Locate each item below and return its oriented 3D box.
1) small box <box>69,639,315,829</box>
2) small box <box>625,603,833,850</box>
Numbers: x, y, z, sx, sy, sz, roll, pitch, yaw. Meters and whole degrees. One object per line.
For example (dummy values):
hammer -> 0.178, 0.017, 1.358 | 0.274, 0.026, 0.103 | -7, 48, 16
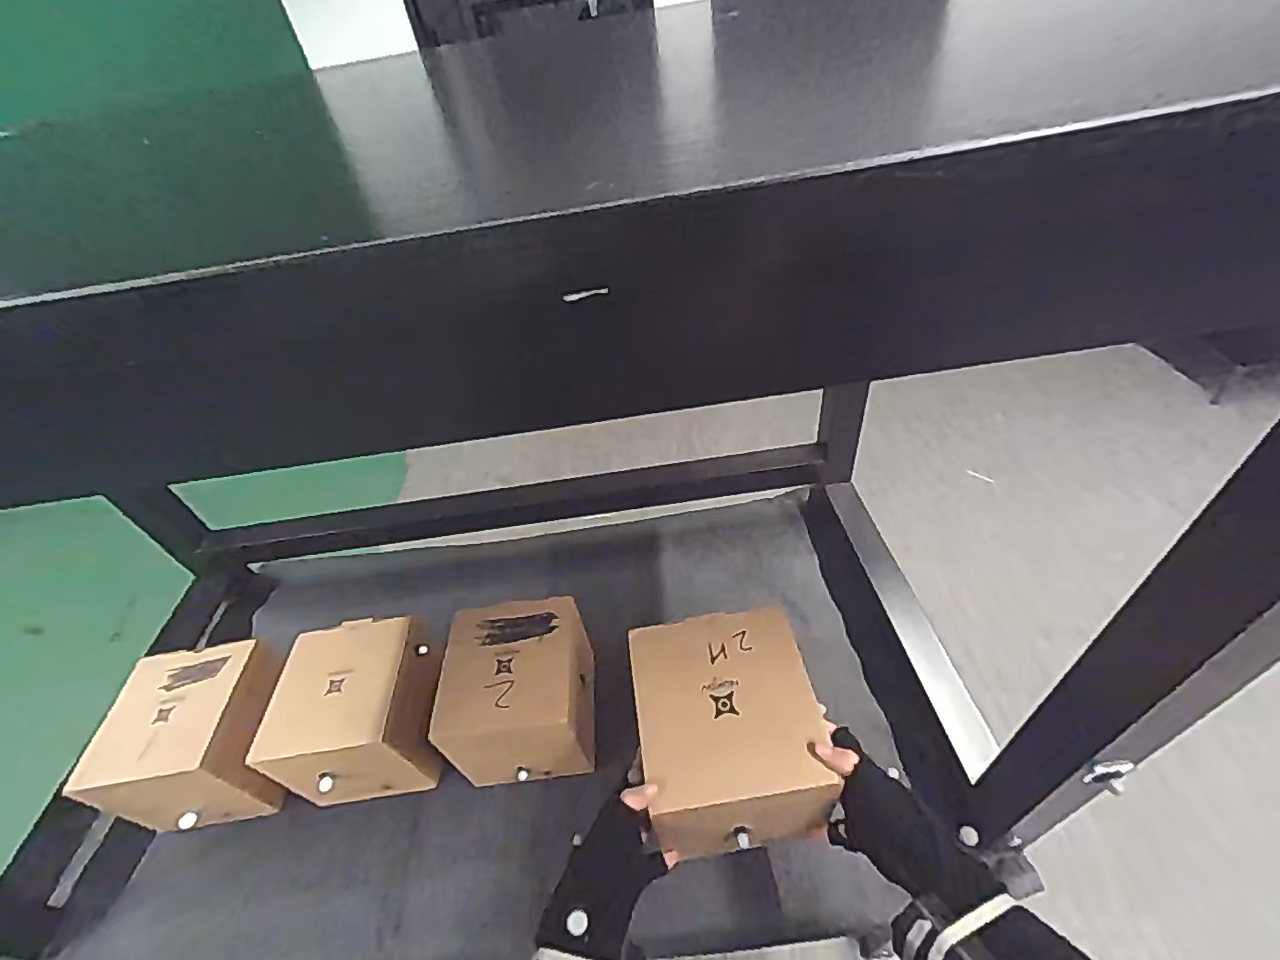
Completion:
small box -> -0.591, 0.350, 0.749 | 0.168, 0.176, 0.179 | -10, 43, 1
small box -> 0.083, 0.257, 0.556 | 0.168, 0.176, 0.179 | -9, 42, 0
